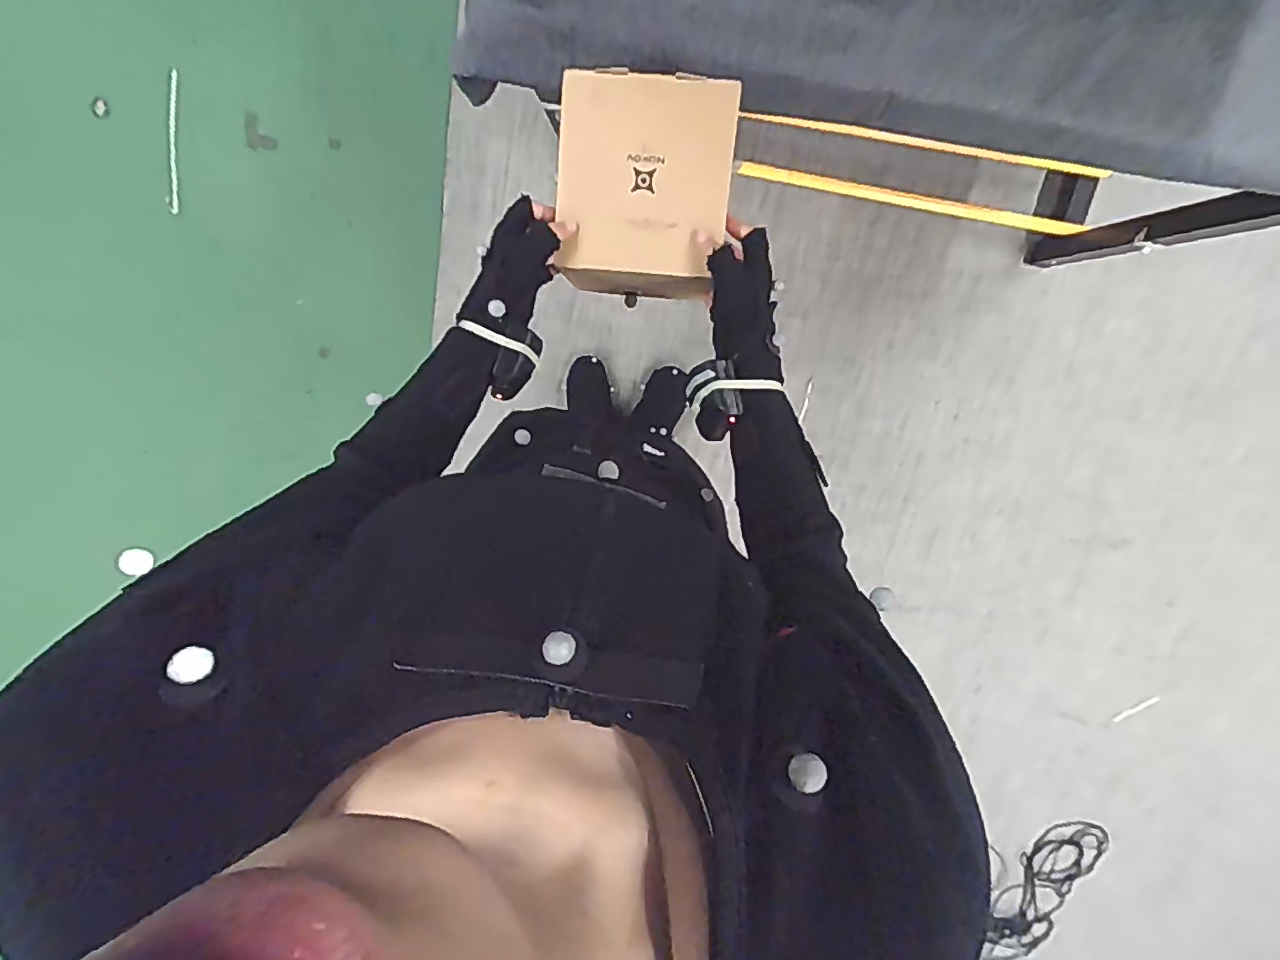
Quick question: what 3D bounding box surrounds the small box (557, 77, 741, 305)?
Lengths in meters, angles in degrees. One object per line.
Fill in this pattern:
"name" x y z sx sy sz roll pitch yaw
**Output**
"small box" 0.010 -0.302 0.600 0.168 0.176 0.179 5 101 2
